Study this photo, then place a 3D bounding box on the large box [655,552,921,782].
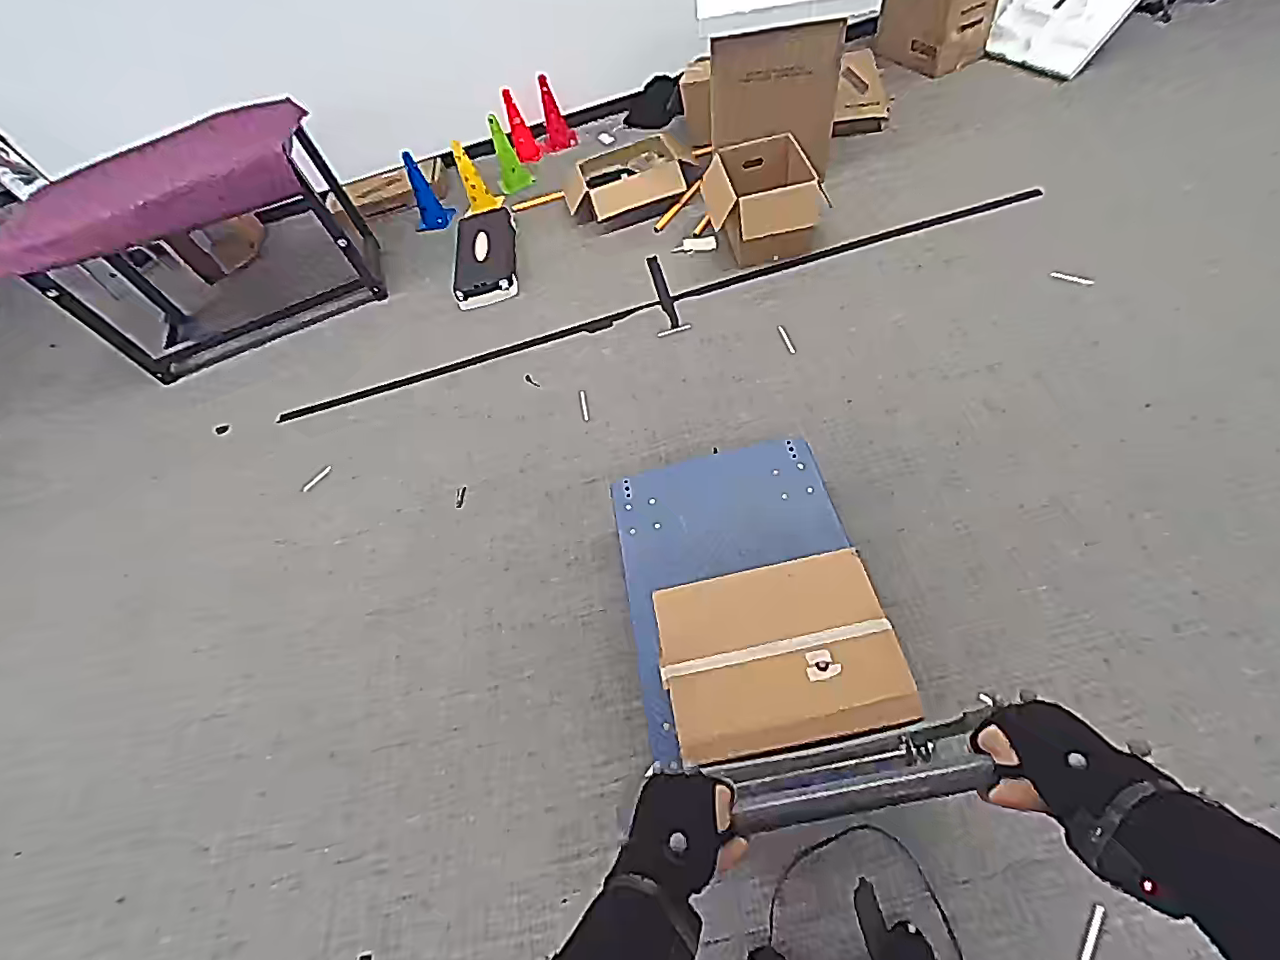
[{"bbox_3d":[0.270,0.391,1.101,0.408,0.320,0.320,-13,56,2],"label":"large box"}]
